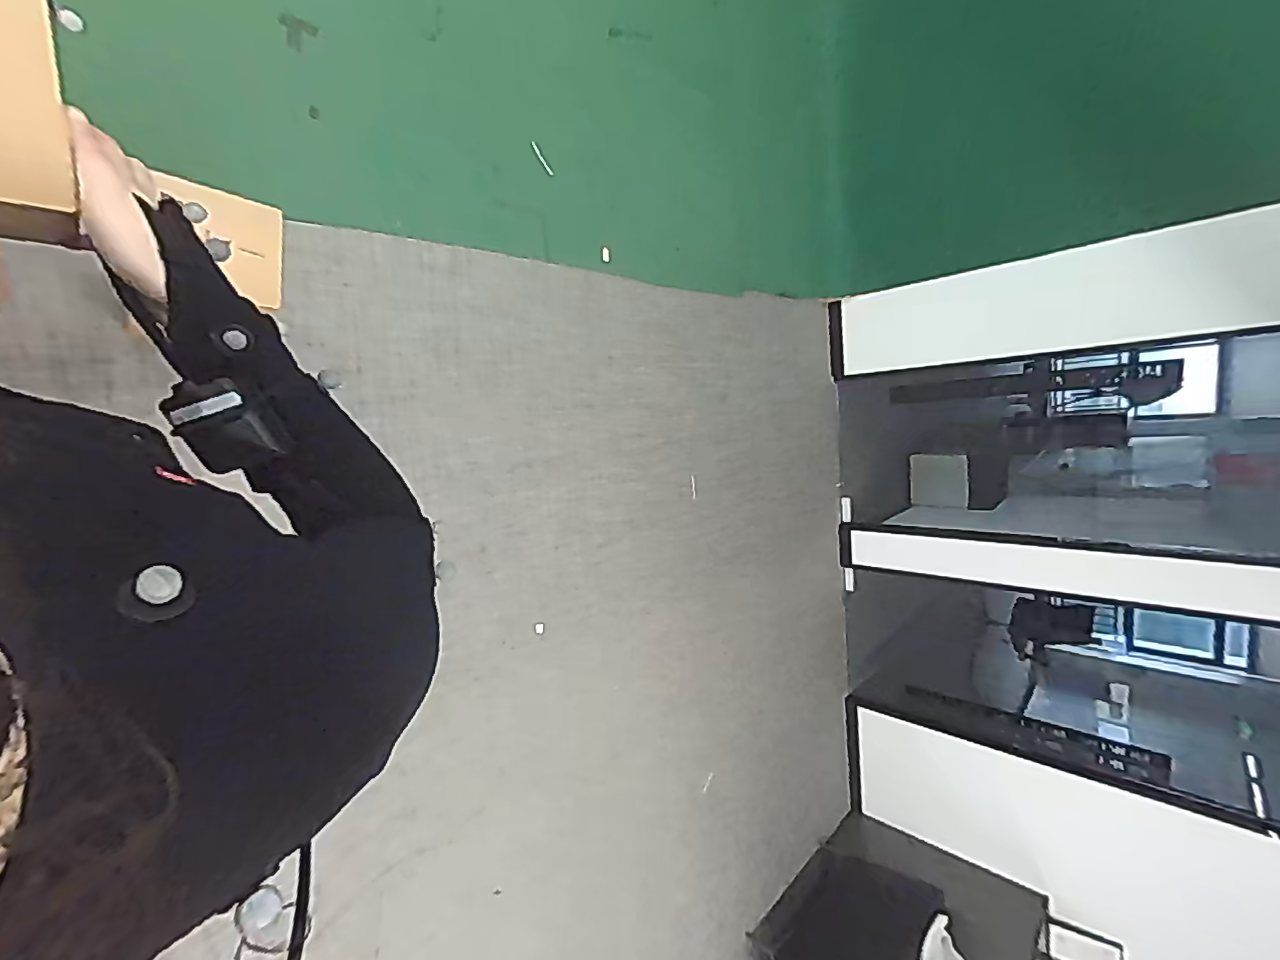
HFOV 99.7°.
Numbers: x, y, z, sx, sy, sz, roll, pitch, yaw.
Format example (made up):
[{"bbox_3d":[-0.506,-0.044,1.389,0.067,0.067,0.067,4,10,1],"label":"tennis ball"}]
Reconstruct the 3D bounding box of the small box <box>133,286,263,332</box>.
[{"bbox_3d":[-0.808,-0.379,0.994,0.179,0.176,0.168,5,90,-45],"label":"small box"}]

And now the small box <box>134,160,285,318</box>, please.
[{"bbox_3d":[-0.697,-0.371,0.874,0.179,0.176,0.168,1,92,-46],"label":"small box"}]
